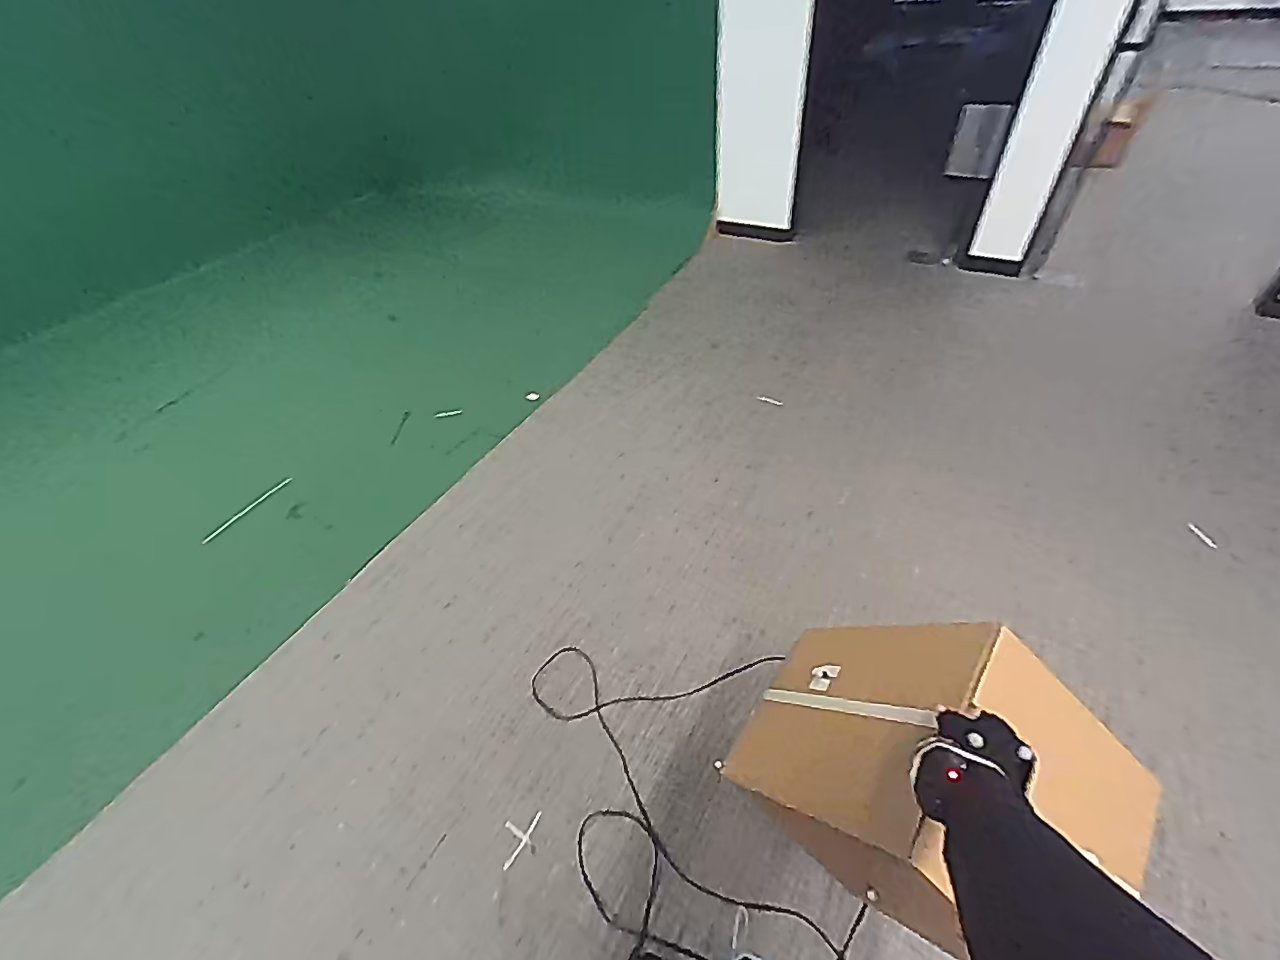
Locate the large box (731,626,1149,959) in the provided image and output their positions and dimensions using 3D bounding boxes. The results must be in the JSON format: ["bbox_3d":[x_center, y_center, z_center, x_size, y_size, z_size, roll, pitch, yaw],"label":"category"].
[{"bbox_3d":[0.419,0.450,0.816,0.320,0.408,0.320,45,65,-2],"label":"large box"}]
